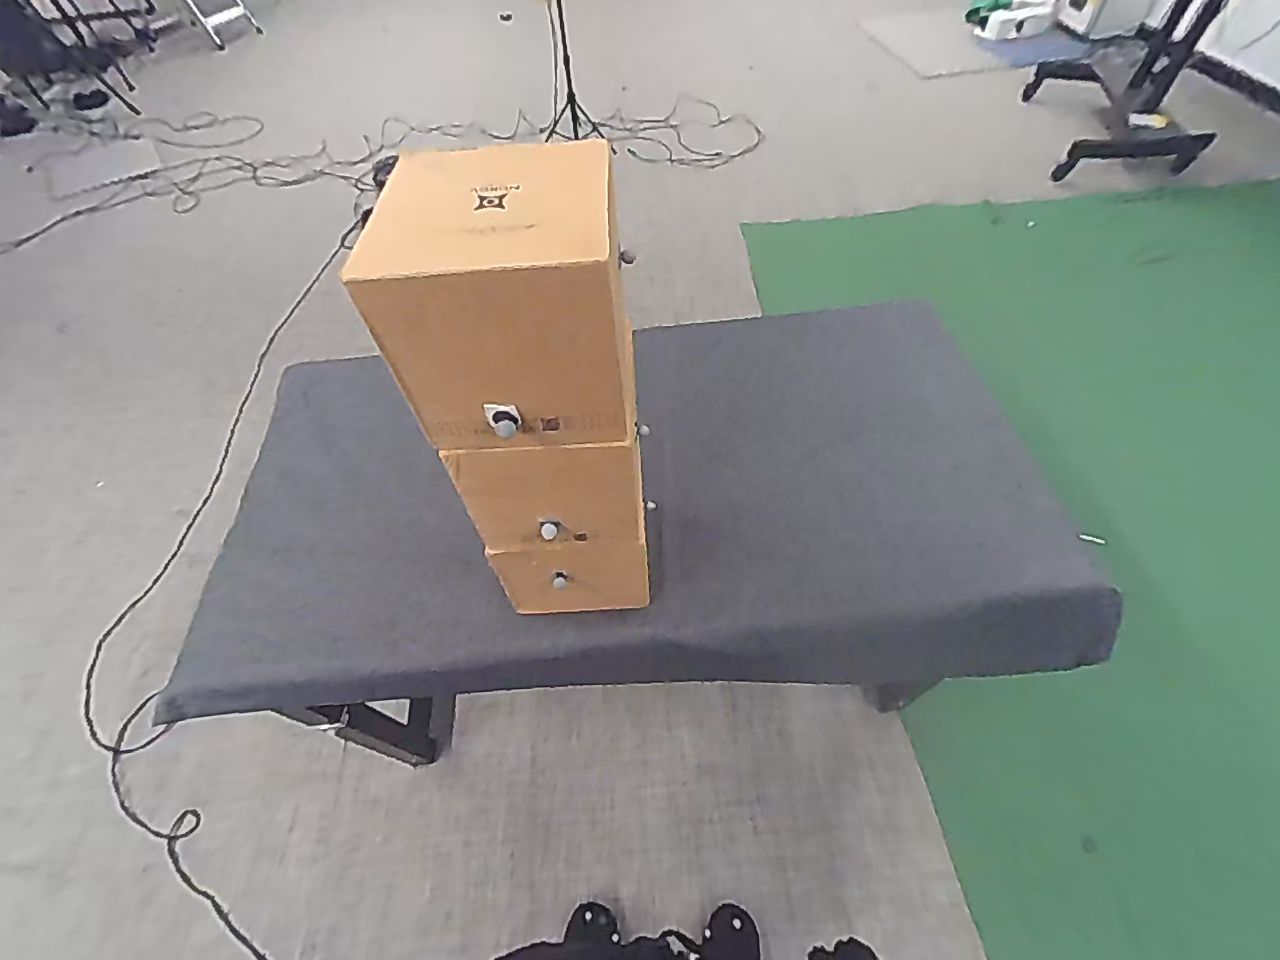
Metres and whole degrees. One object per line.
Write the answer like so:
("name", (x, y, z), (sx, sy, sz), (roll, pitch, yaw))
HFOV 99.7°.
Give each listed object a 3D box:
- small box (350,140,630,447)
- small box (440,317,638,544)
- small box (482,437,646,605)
("small box", (-0.096, -0.147, 0.442), (0.168, 0.176, 0.179), (-3, 54, 1))
("small box", (-0.088, -0.050, 0.570), (0.168, 0.176, 0.179), (-1, 54, 1))
("small box", (-0.085, 0.053, 0.699), (0.179, 0.176, 0.168), (-3, 54, 1))
